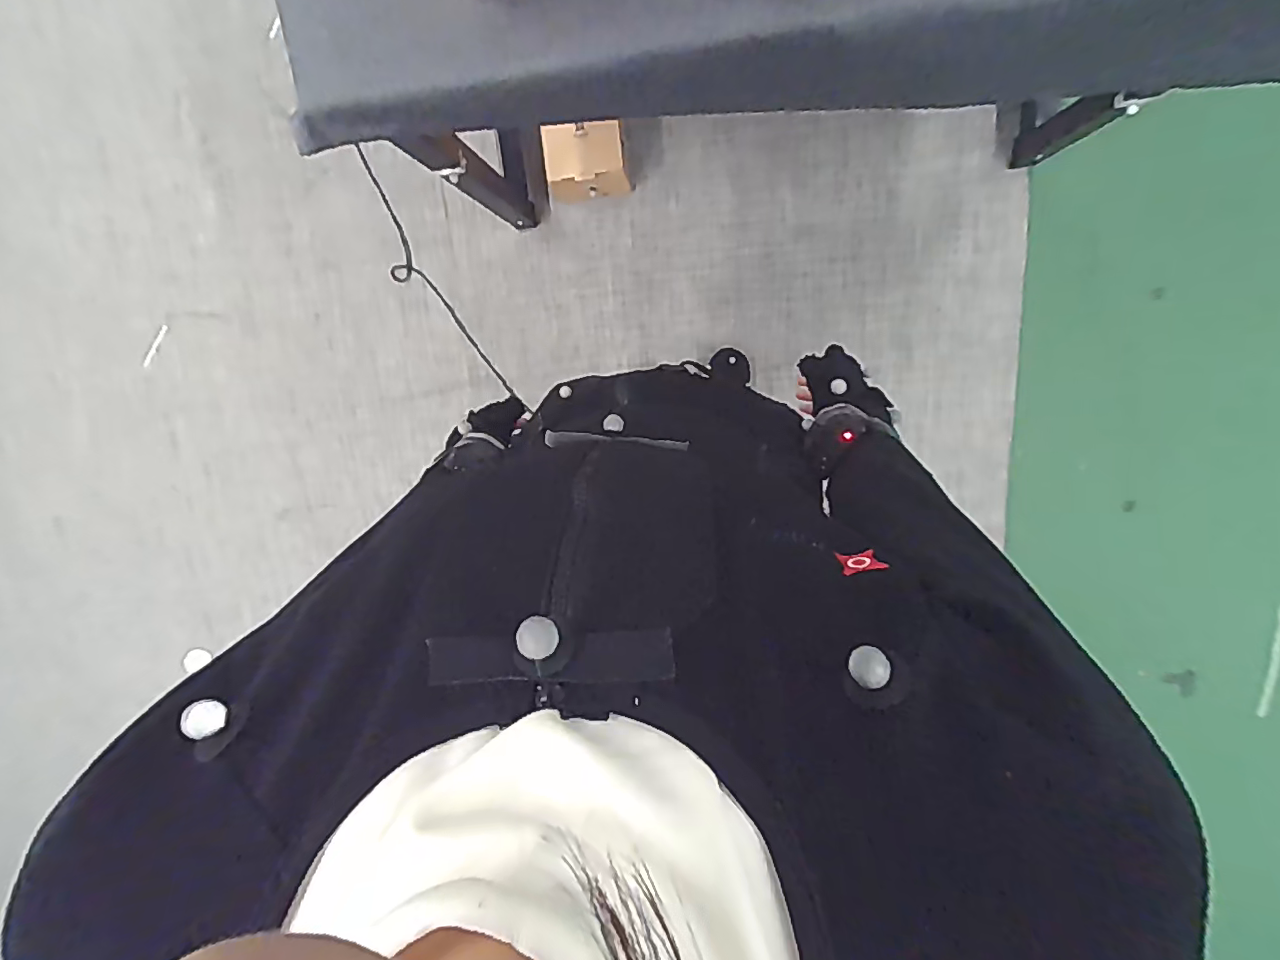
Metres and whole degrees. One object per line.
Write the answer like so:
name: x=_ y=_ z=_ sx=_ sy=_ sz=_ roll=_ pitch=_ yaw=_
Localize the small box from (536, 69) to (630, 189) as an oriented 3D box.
small box: x=-0.118 y=-0.757 z=1.189 sx=0.168 sy=0.176 sz=0.179 roll=-3 pitch=104 yaw=6
